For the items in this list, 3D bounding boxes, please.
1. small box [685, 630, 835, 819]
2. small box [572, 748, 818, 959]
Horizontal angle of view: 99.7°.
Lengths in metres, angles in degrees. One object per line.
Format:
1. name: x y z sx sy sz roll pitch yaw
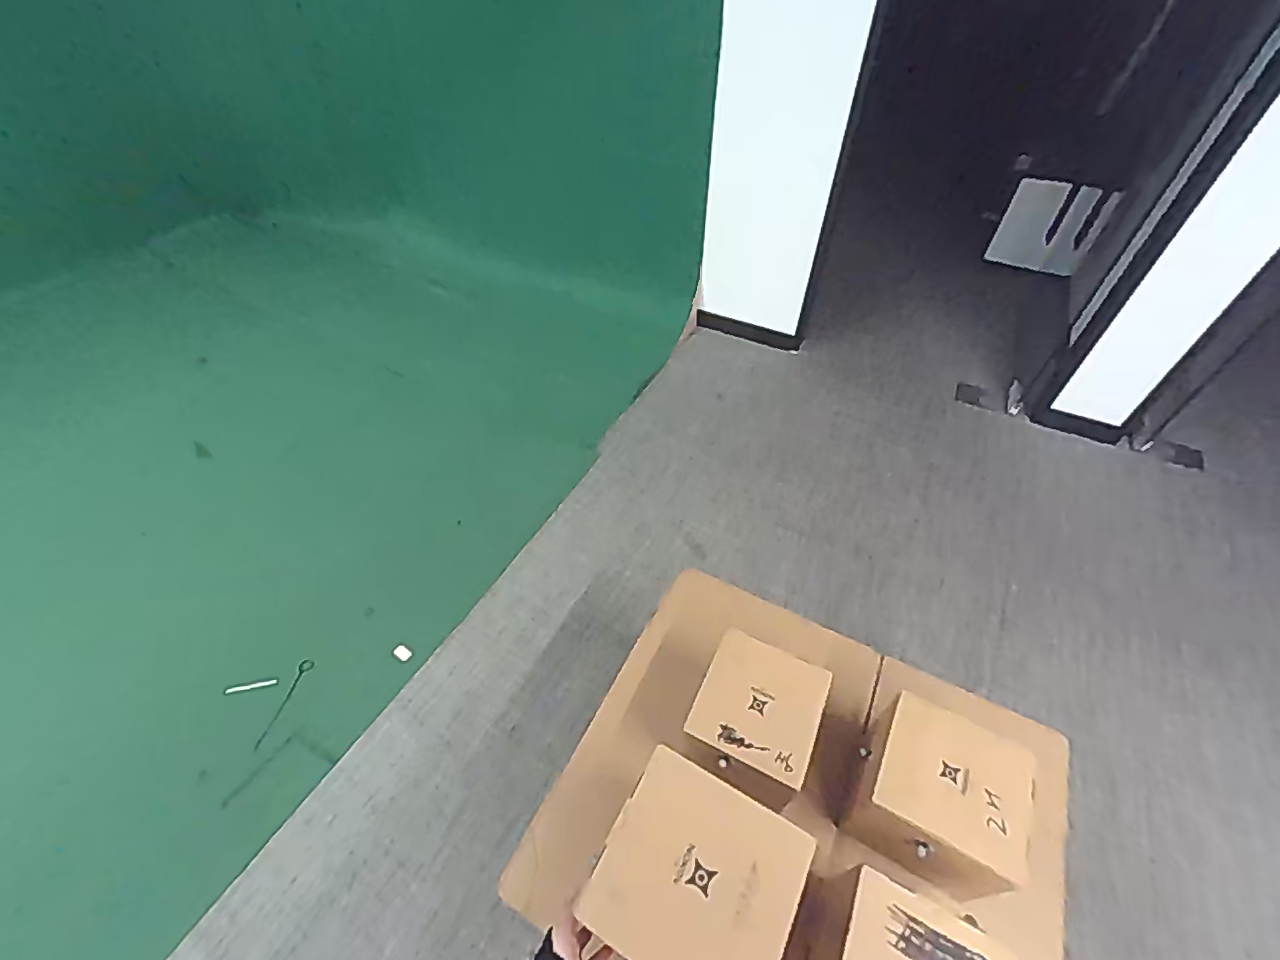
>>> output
1. small box: 0.172 0.366 0.811 0.168 0.176 0.179 20 50 20
2. small box: 0.055 0.416 0.551 0.179 0.176 0.168 23 54 20
